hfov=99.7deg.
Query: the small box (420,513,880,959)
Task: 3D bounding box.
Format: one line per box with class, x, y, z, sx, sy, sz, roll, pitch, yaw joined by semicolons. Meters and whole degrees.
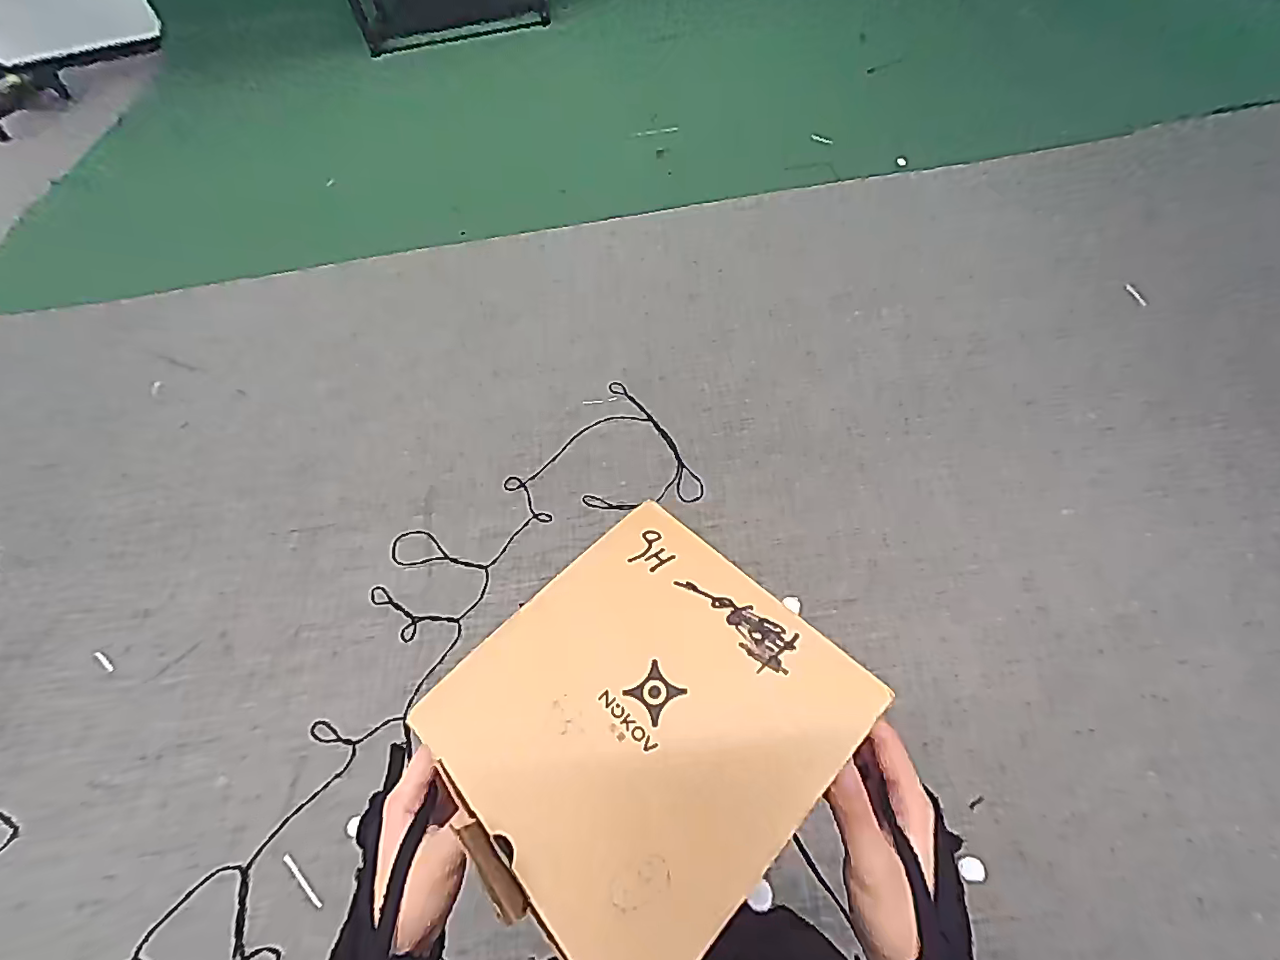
small box;0.012;0.161;0.332;0.179;0.176;0.168;-42;60;-19
